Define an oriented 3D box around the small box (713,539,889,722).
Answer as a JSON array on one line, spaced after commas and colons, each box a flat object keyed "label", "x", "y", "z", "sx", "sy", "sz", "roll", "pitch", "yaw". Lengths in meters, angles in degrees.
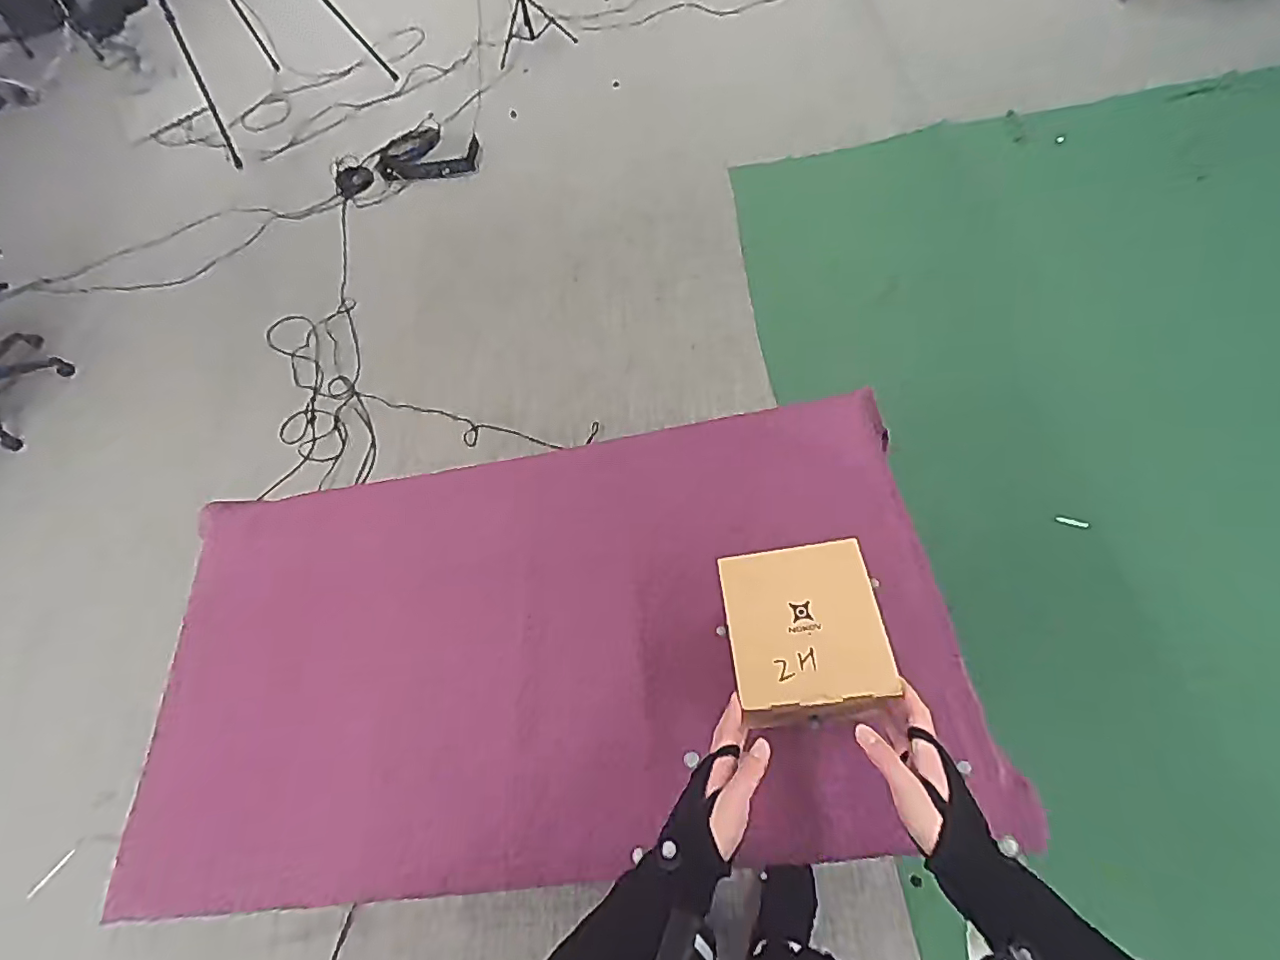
[{"label": "small box", "x": 0.190, "y": 0.194, "z": 0.676, "sx": 0.168, "sy": 0.176, "sz": 0.179, "roll": -10, "pitch": 60, "yaw": 10}]
